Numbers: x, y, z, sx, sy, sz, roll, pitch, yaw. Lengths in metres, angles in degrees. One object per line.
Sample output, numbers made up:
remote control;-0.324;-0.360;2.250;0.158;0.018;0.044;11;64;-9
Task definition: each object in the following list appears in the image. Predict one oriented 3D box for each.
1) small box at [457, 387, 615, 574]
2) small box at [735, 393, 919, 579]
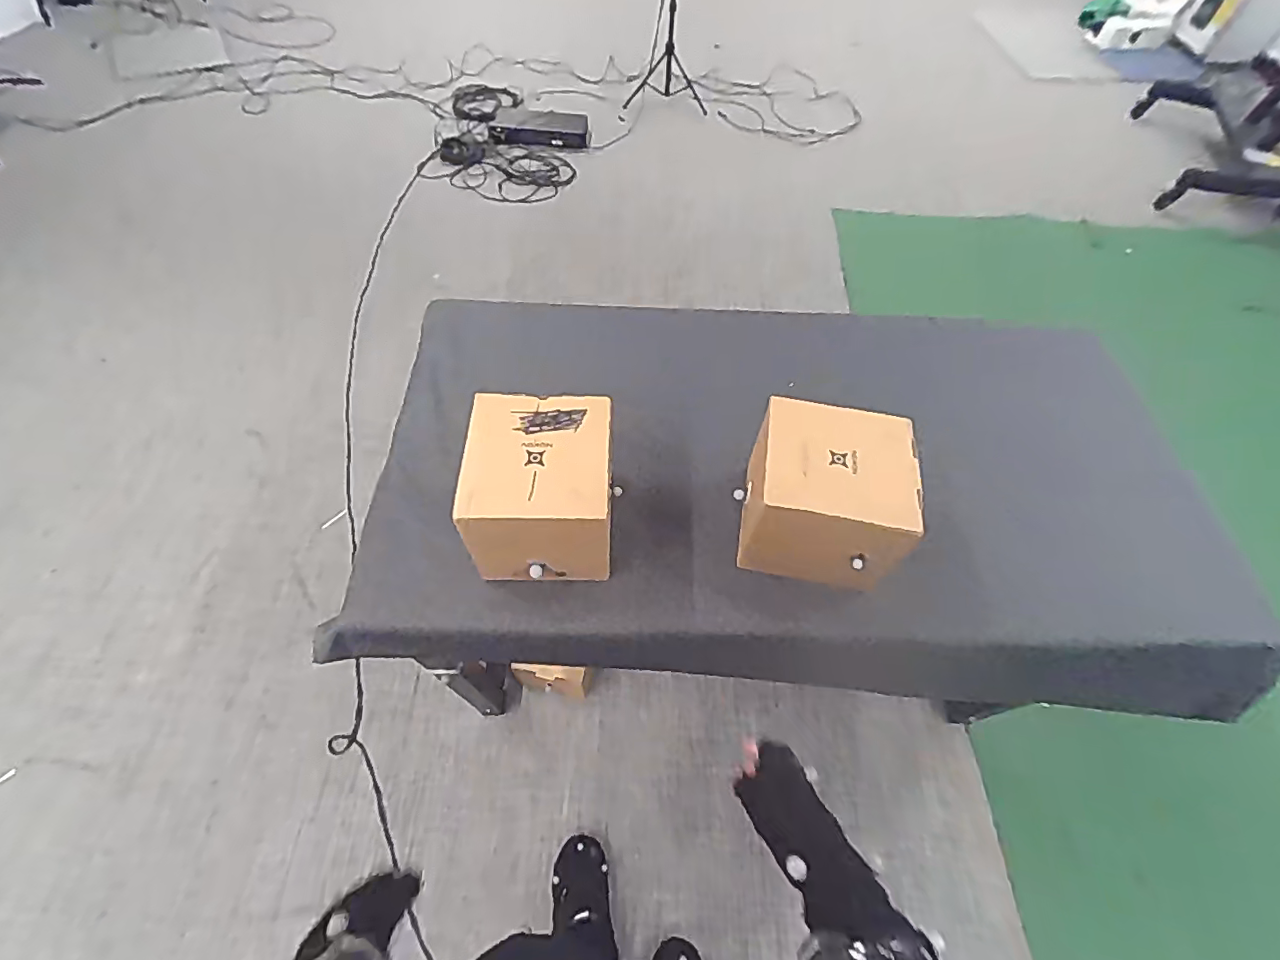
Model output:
small box;-0.118;0.004;0.687;0.168;0.176;0.179;1;57;-3
small box;0.231;0.015;0.703;0.179;0.176;0.168;9;56;4
